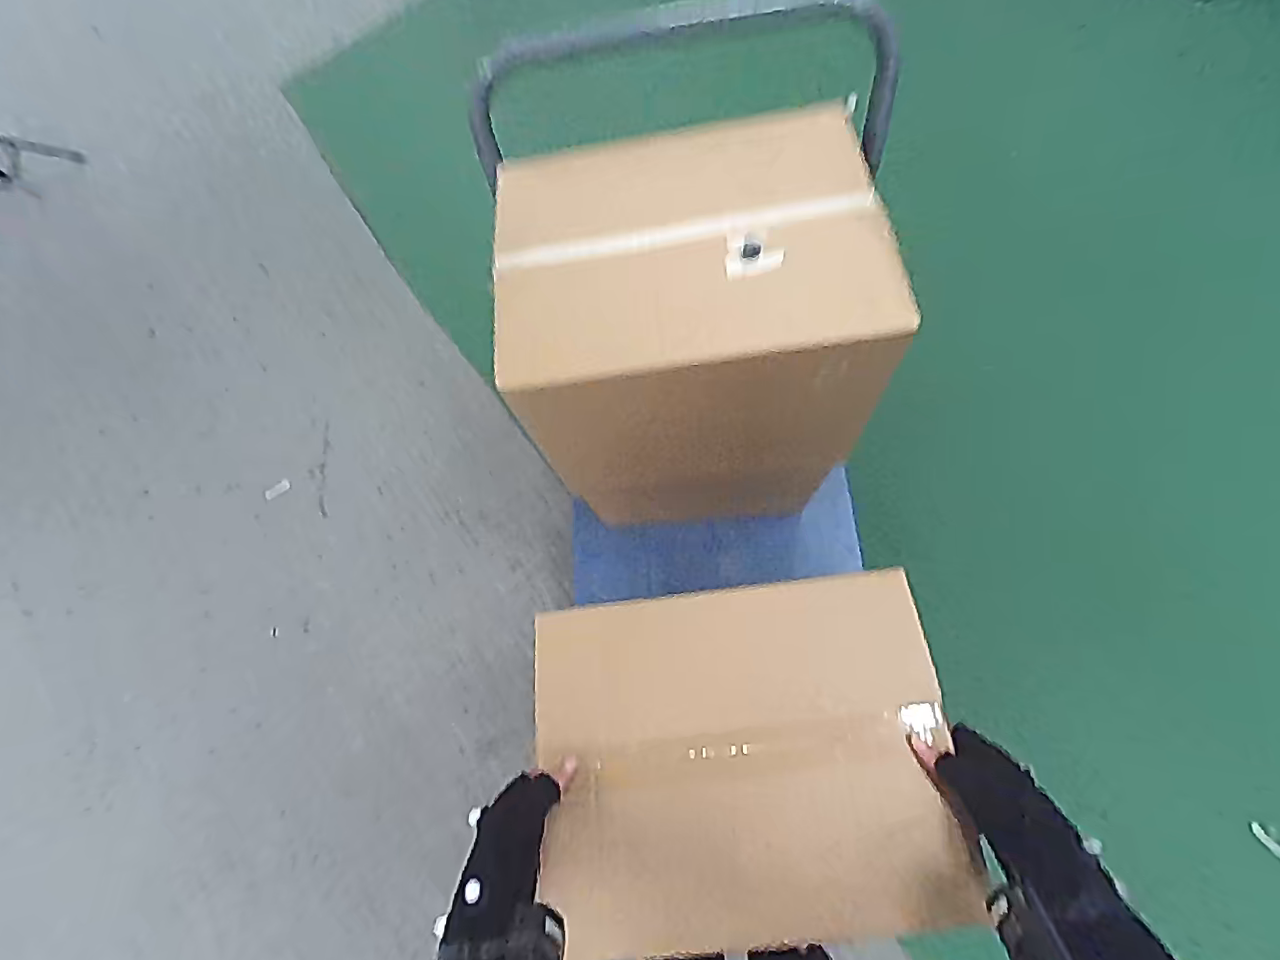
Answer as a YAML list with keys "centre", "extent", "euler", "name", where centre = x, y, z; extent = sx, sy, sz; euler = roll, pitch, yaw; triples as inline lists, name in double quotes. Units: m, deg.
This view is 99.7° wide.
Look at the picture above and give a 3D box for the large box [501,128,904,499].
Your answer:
- centre: [0.059, -0.190, 0.719]
  extent: [0.408, 0.320, 0.320]
  euler: [-7, 67, 4]
  name: "large box"
